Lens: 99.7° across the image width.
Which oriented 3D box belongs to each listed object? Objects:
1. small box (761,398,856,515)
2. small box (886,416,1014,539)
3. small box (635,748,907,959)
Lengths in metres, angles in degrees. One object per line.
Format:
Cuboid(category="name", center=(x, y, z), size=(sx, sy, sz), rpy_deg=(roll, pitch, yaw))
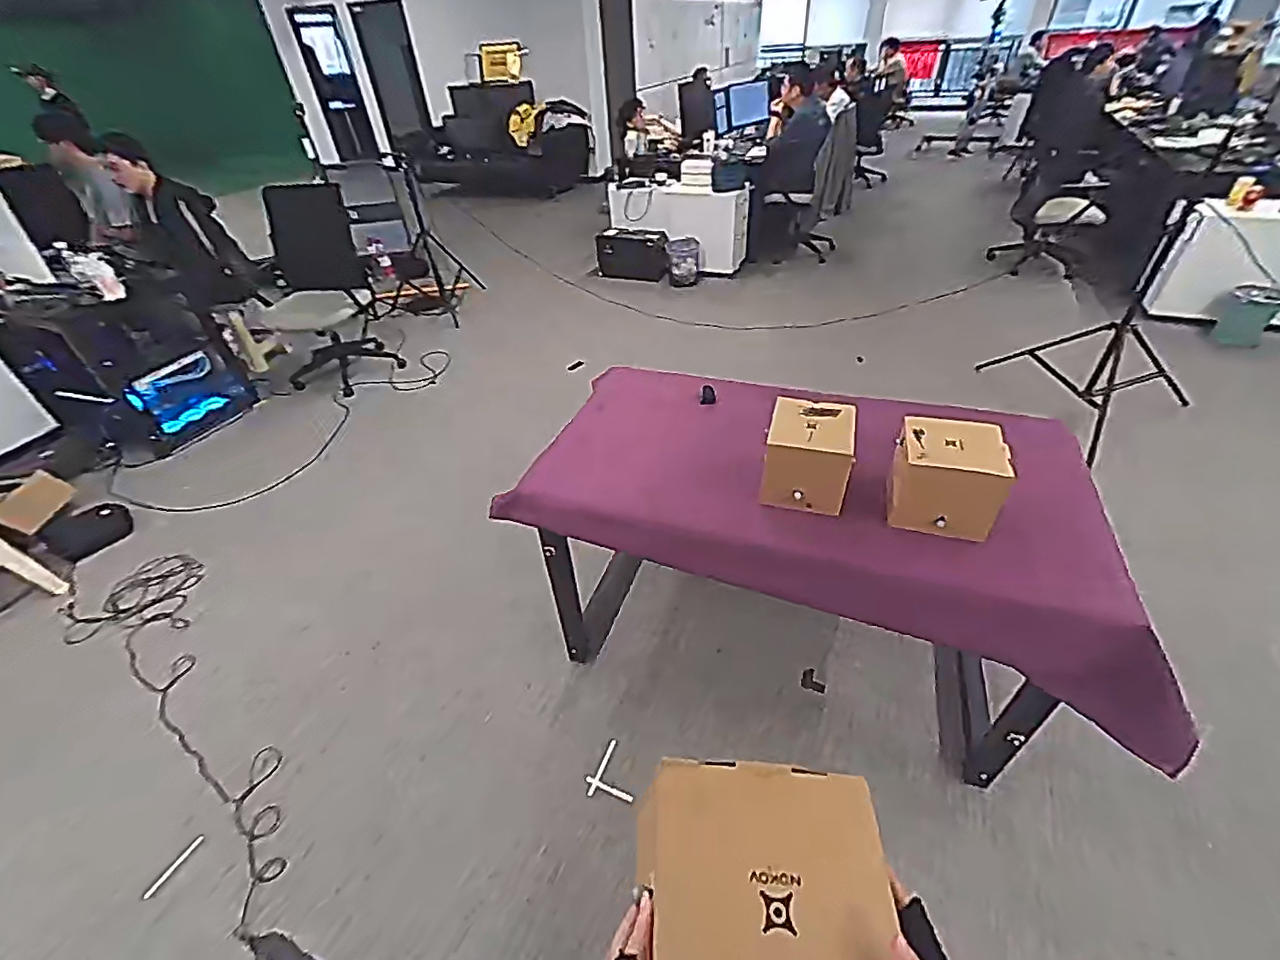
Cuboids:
Cuboid(category="small box", center=(0.357, -0.052, 1.155), size=(0.168, 0.176, 0.179), rpy_deg=(9, 42, 16))
Cuboid(category="small box", center=(0.604, -0.004, 1.077), size=(0.179, 0.176, 0.168), rpy_deg=(10, 41, 16))
Cuboid(category="small box", center=(0.085, 0.336, 0.420), size=(0.168, 0.176, 0.179), rpy_deg=(6, 46, -1))
